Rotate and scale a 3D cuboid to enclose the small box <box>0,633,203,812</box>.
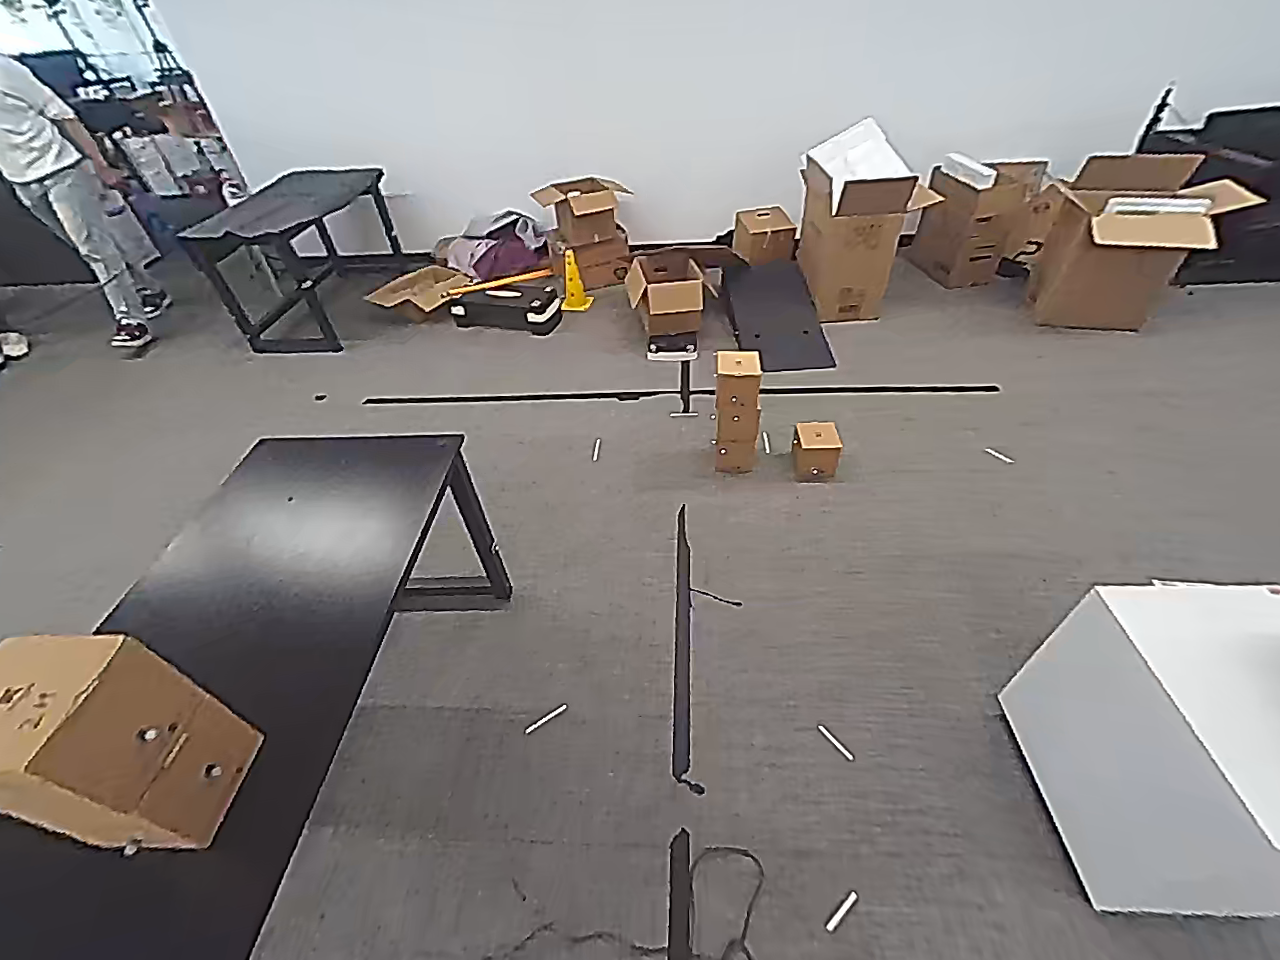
[{"bbox_3d":[-0.743,0.317,0.705,0.179,0.176,0.168,-1,44,3],"label":"small box"}]

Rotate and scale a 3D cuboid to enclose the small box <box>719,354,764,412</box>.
[{"bbox_3d":[0.409,-0.396,2.199,0.168,0.176,0.179,2,44,5],"label":"small box"}]

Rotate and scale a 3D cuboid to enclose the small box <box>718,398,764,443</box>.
[{"bbox_3d":[0.426,-0.273,2.304,0.179,0.176,0.168,1,43,4],"label":"small box"}]

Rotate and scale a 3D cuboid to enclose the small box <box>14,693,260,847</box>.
[{"bbox_3d":[-0.732,0.437,0.818,0.179,0.176,0.168,-1,43,3],"label":"small box"}]

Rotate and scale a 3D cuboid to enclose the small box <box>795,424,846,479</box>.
[{"bbox_3d":[0.783,-0.124,2.363,0.168,0.176,0.179,-2,44,4],"label":"small box"}]
